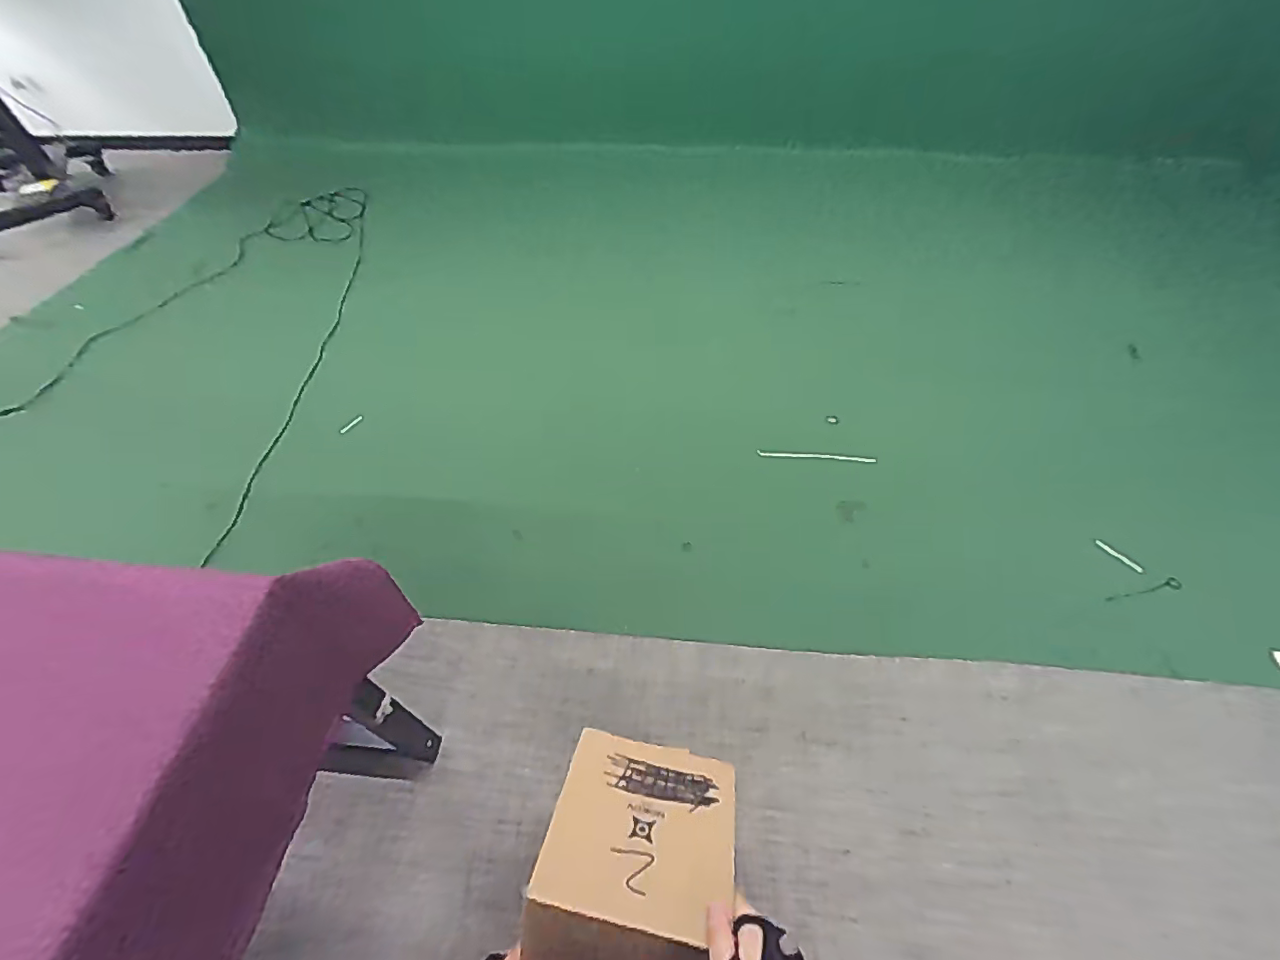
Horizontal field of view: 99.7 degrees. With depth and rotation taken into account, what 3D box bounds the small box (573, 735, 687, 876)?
[{"bbox_3d":[-0.011,0.565,0.934,0.168,0.176,0.179,6,50,5],"label":"small box"}]
